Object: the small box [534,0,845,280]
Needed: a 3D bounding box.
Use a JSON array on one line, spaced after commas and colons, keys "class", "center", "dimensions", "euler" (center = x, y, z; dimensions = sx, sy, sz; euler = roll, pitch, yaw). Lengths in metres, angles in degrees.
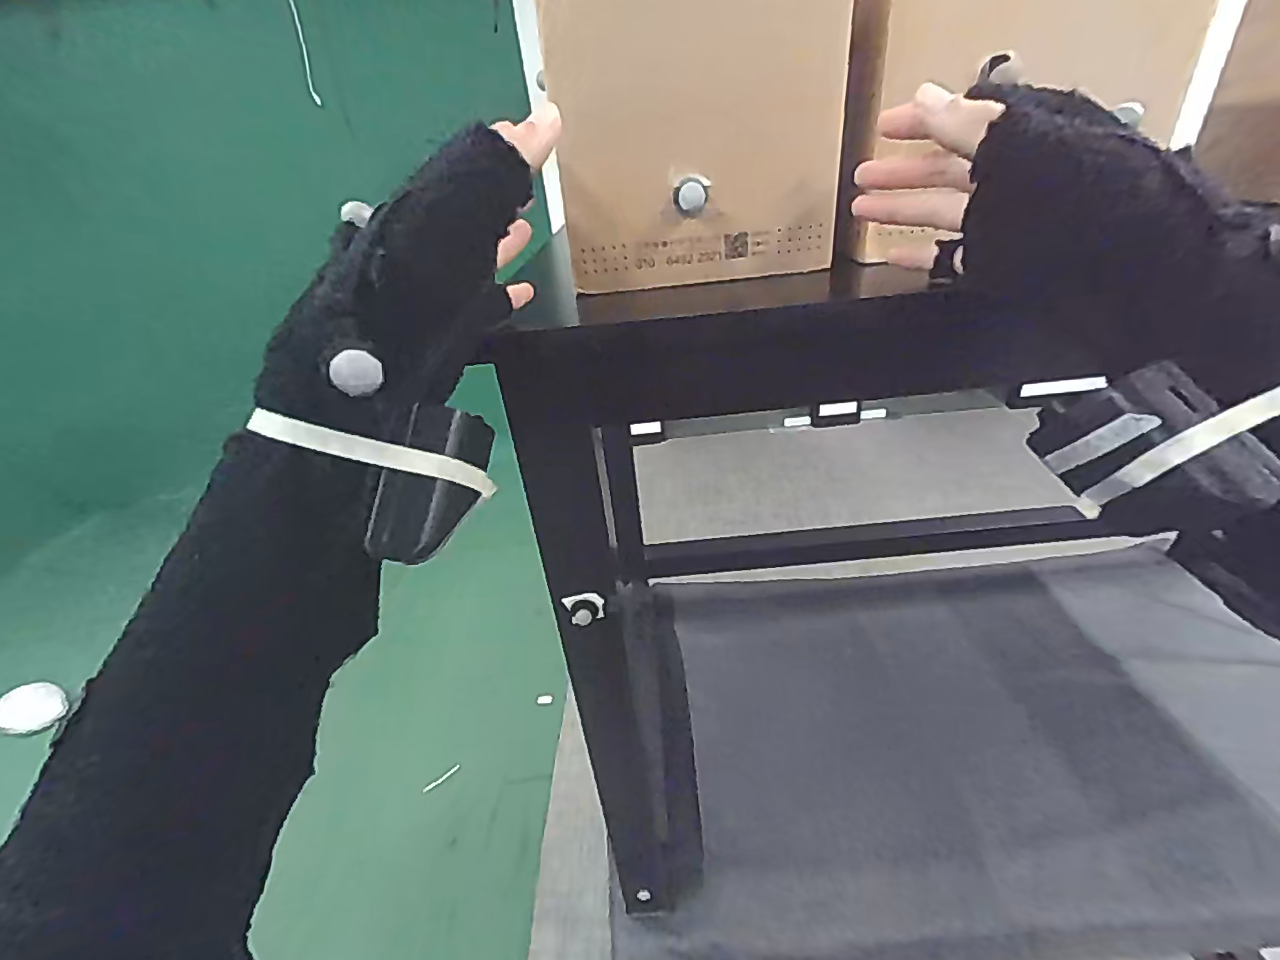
[{"class": "small box", "center": [0.027, -0.244, 0.378], "dimensions": [0.168, 0.176, 0.179], "euler": [-6, 31, 1]}]
